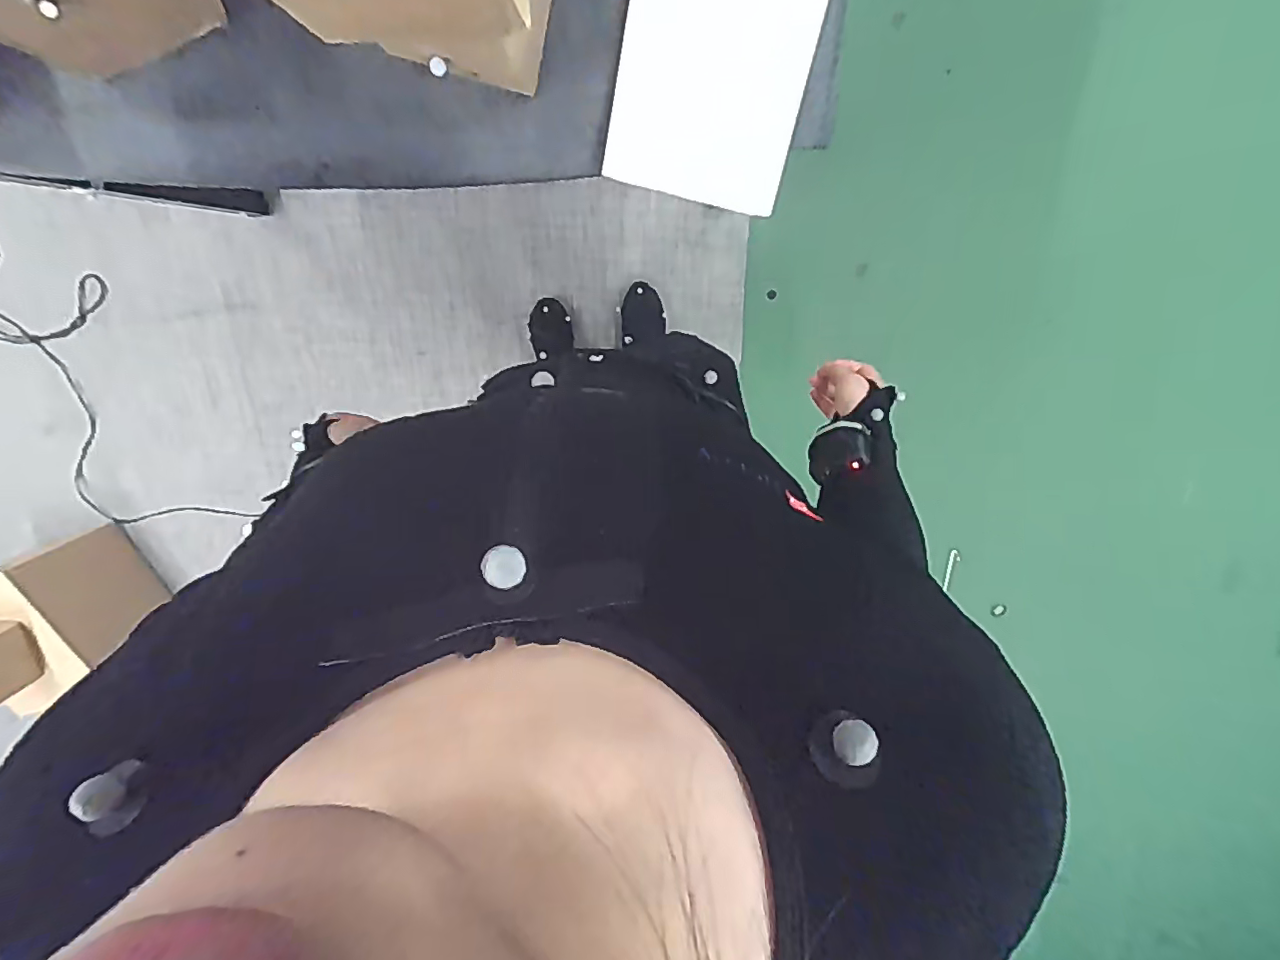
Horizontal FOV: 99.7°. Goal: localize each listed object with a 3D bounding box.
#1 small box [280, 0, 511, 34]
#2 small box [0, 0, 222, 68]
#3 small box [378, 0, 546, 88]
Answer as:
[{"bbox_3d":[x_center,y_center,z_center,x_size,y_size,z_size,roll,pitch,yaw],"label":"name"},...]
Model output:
[{"bbox_3d":[-0.183,-0.419,0.344,0.179,0.176,0.168,-1,110,3],"label":"small box"},{"bbox_3d":[-0.550,-0.520,0.495,0.179,0.176,0.168,-15,110,7],"label":"small box"},{"bbox_3d":[-0.179,-0.499,0.487,0.168,0.176,0.179,15,111,-3],"label":"small box"}]
